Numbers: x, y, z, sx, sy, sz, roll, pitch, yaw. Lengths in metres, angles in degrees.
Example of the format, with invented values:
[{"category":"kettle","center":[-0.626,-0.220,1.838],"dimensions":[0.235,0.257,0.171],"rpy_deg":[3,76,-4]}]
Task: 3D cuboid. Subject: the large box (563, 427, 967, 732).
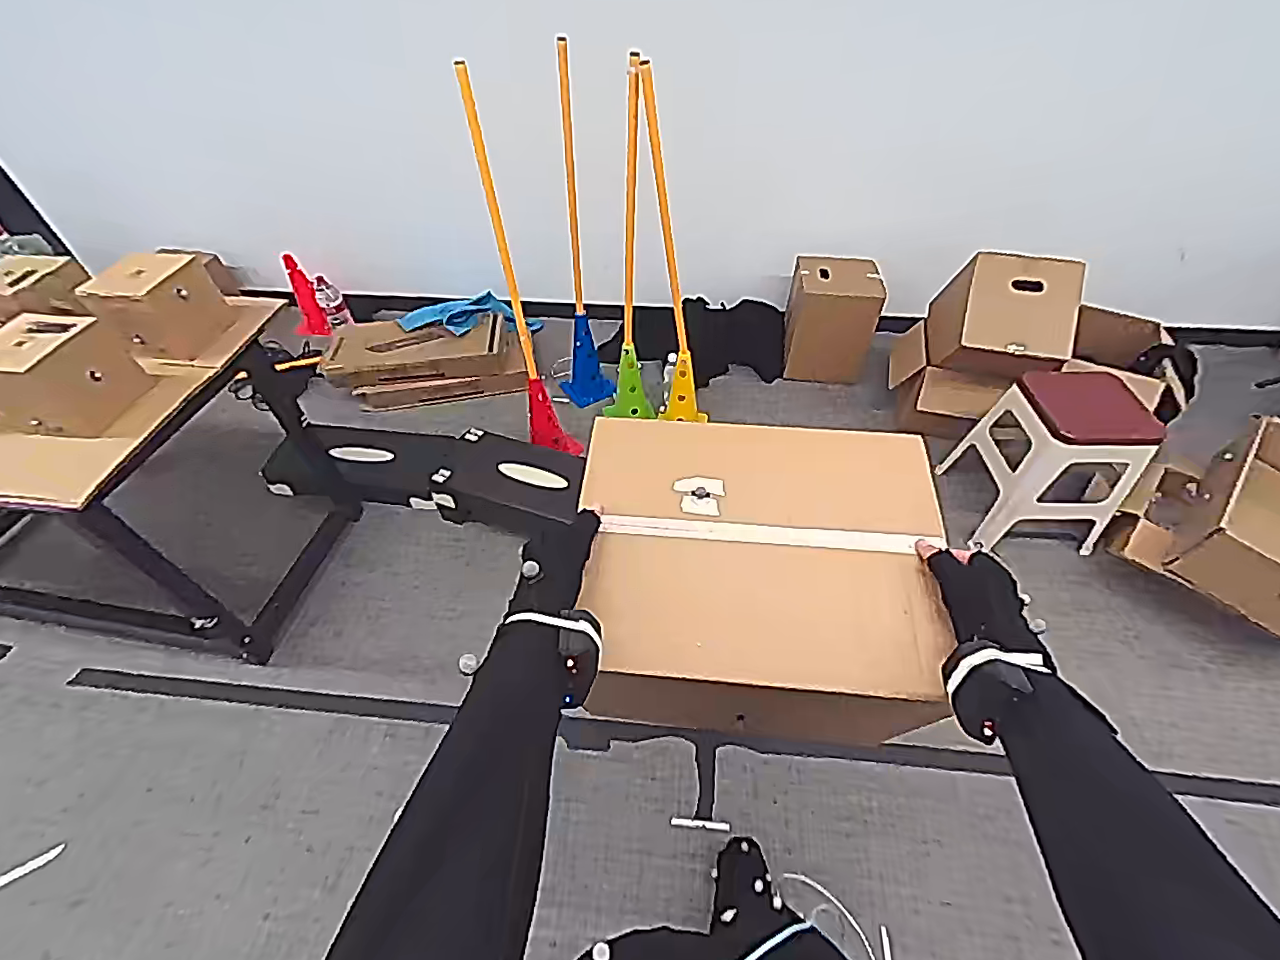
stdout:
[{"category":"large box","center":[0.139,0.146,0.737],"dimensions":[0.408,0.320,0.320],"rpy_deg":[3,57,5]}]
